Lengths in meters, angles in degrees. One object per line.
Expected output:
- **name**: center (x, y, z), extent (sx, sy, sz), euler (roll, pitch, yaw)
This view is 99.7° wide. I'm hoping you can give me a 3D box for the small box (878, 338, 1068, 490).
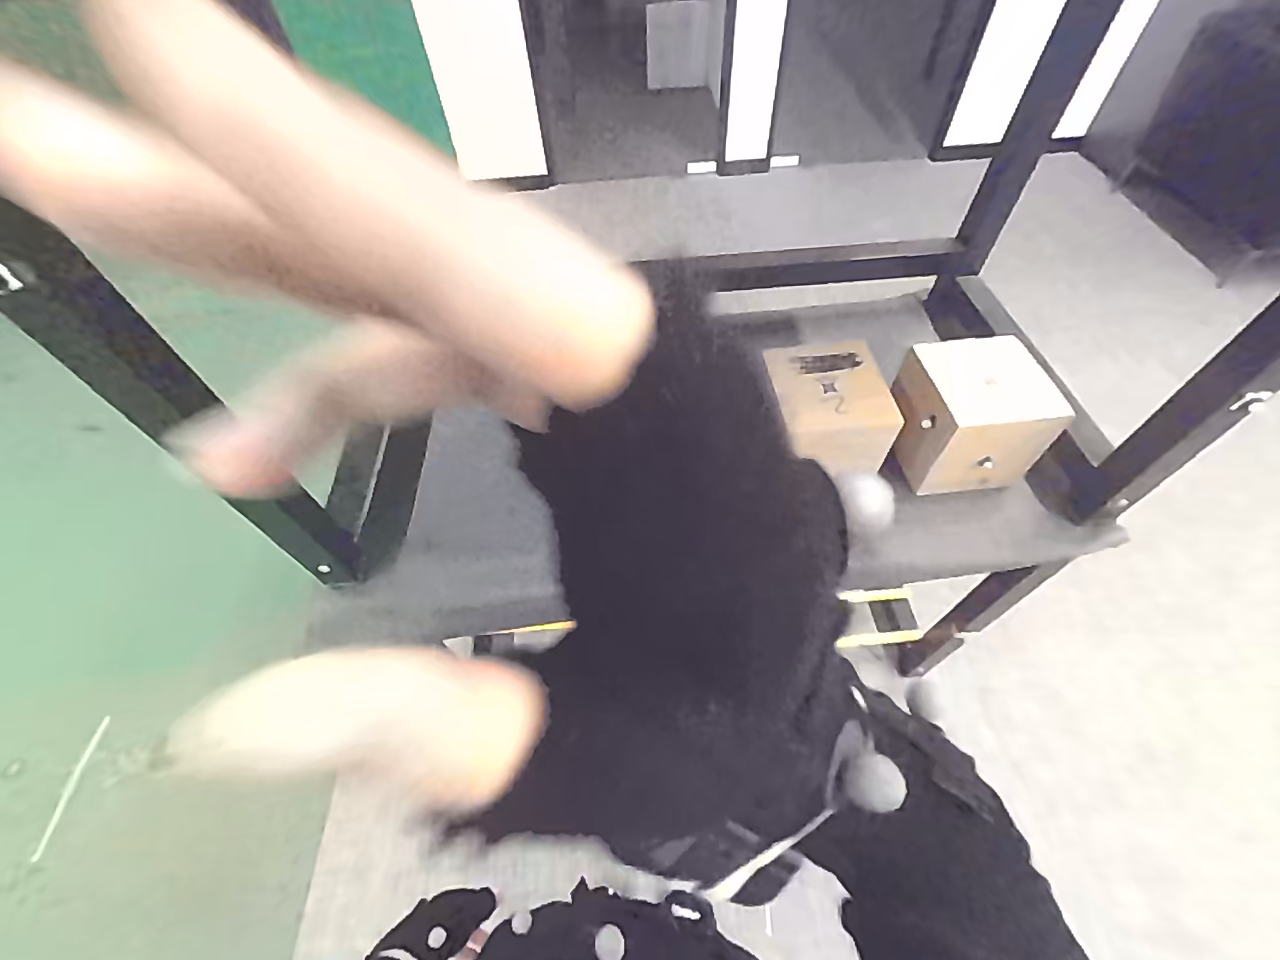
- **small box**: center (0.508, -0.097, 0.857), extent (0.168, 0.176, 0.179), euler (-6, 53, -2)
